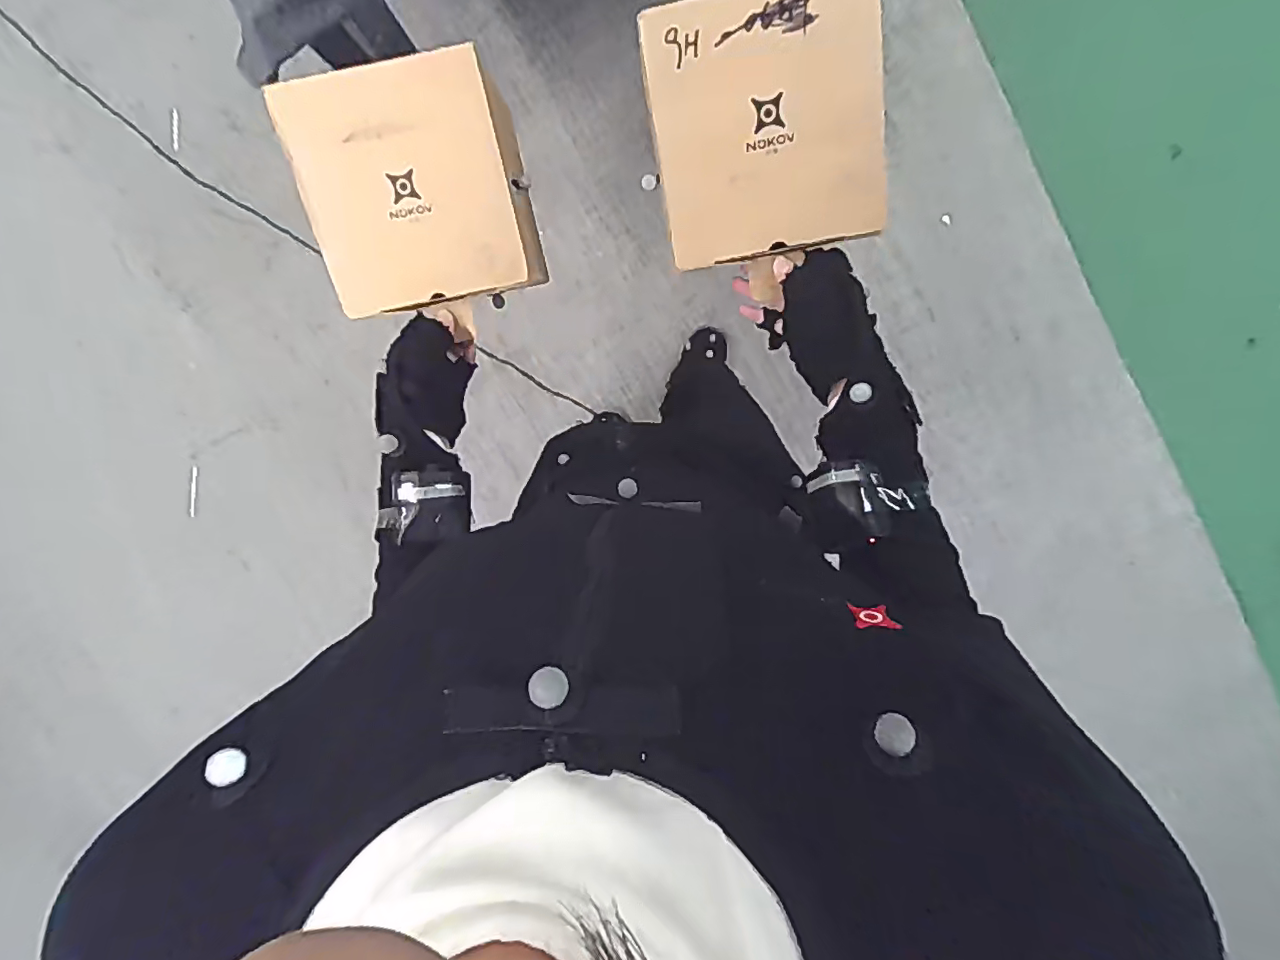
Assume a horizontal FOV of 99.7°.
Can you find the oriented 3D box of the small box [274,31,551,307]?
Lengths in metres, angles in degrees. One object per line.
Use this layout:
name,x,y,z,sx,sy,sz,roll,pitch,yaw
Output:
small box,-0.188,-0.273,0.514,0.168,0.176,0.179,-12,110,0
